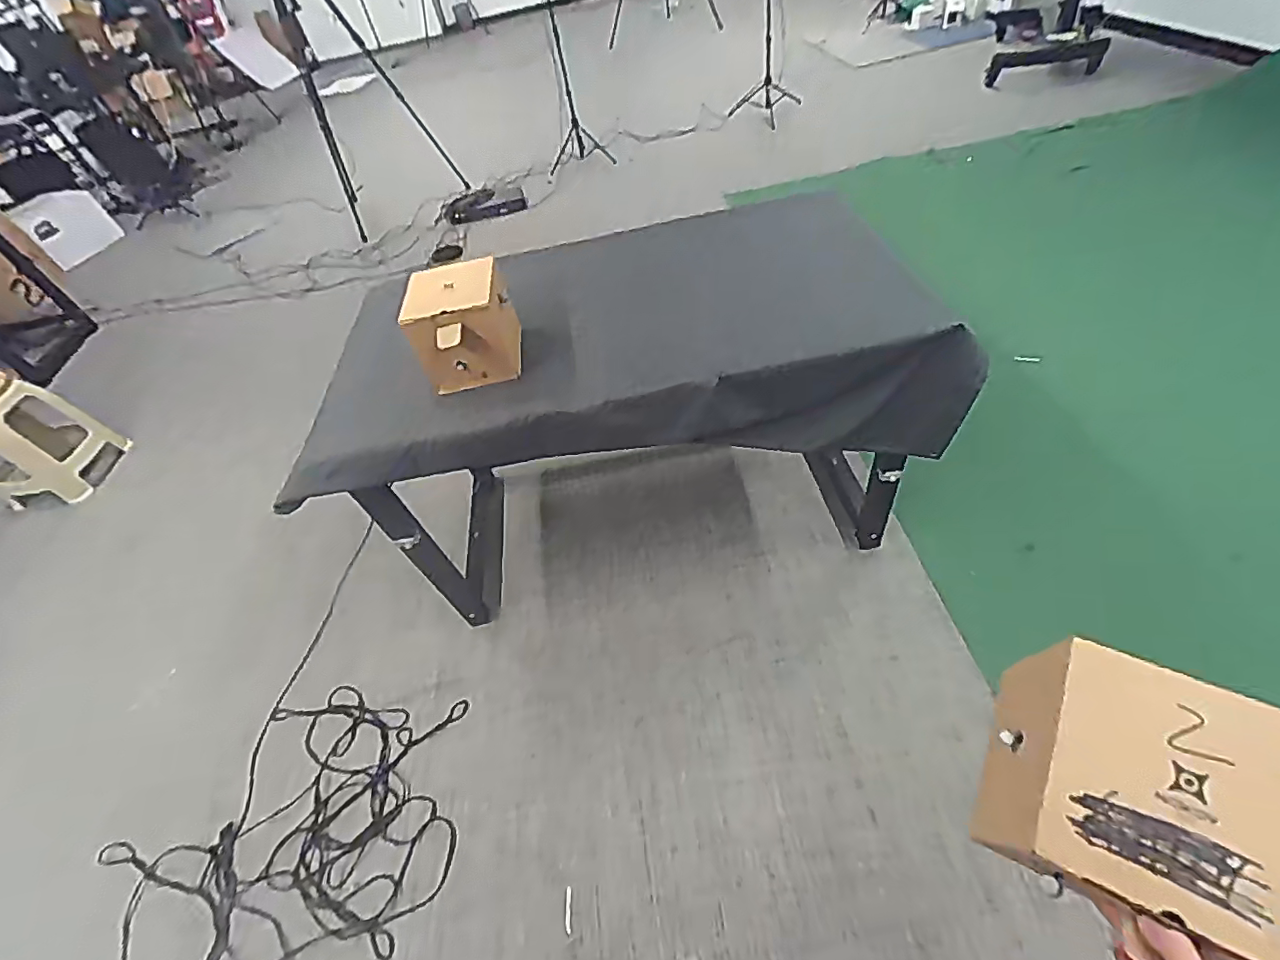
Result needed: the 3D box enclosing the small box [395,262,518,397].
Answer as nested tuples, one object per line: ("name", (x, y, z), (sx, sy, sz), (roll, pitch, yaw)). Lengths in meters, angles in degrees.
("small box", (-0.341, -0.288, 1.041), (0.168, 0.176, 0.179), (-12, 49, 1))
